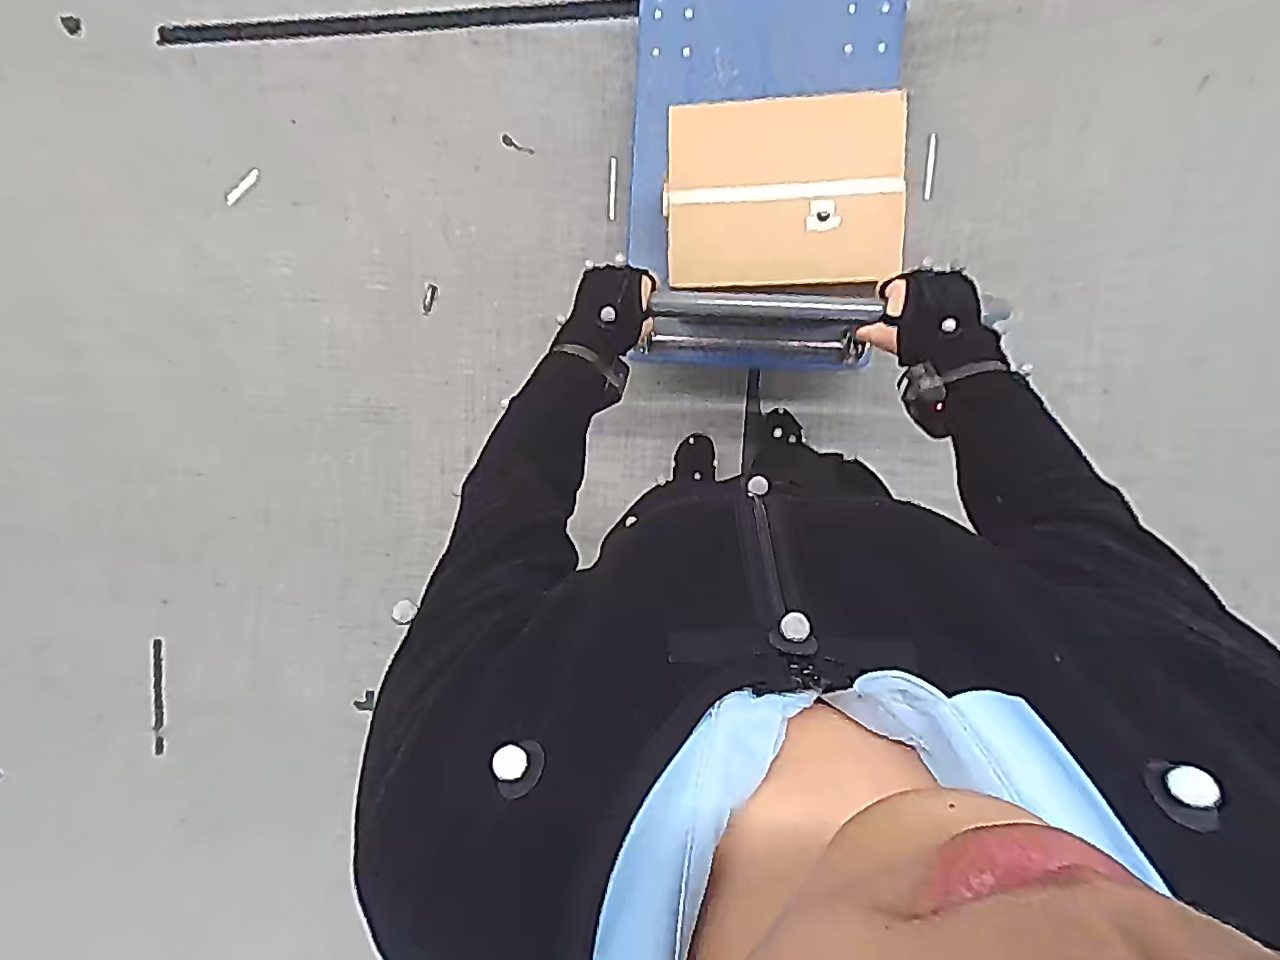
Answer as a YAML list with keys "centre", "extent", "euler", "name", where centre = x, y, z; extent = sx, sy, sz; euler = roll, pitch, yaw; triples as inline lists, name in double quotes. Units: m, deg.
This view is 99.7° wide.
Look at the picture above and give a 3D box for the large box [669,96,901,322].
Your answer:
- centre: [0.266, -0.517, 1.107]
  extent: [0.408, 0.320, 0.320]
  euler: [0, 96, 5]
  name: "large box"
